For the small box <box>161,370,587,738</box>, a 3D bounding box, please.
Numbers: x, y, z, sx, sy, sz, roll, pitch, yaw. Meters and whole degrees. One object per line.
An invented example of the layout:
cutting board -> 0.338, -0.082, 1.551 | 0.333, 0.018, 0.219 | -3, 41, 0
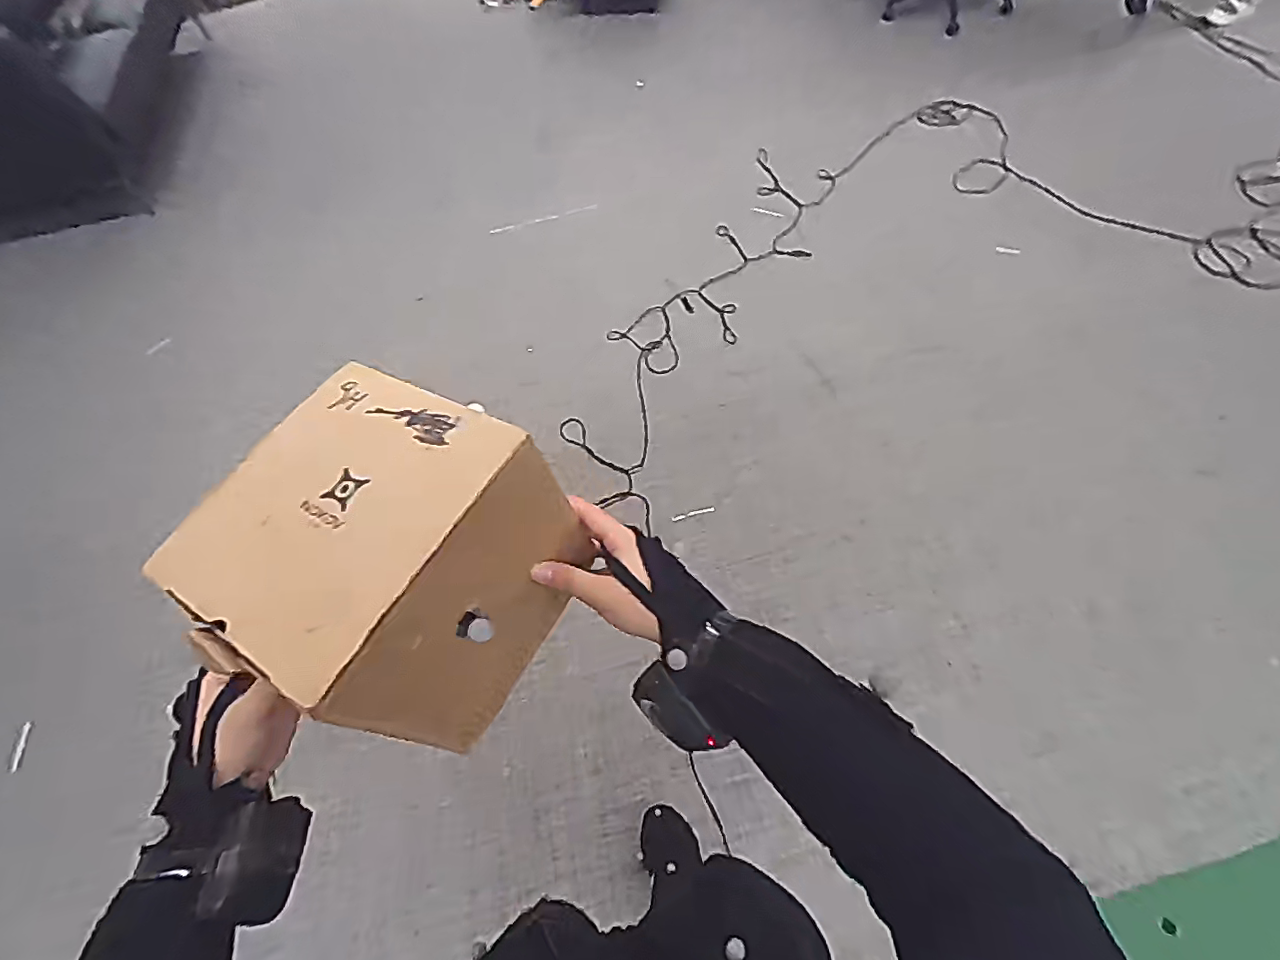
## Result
small box -> -0.159, 0.058, 0.385 | 0.168, 0.176, 0.179 | 22, 66, 24
